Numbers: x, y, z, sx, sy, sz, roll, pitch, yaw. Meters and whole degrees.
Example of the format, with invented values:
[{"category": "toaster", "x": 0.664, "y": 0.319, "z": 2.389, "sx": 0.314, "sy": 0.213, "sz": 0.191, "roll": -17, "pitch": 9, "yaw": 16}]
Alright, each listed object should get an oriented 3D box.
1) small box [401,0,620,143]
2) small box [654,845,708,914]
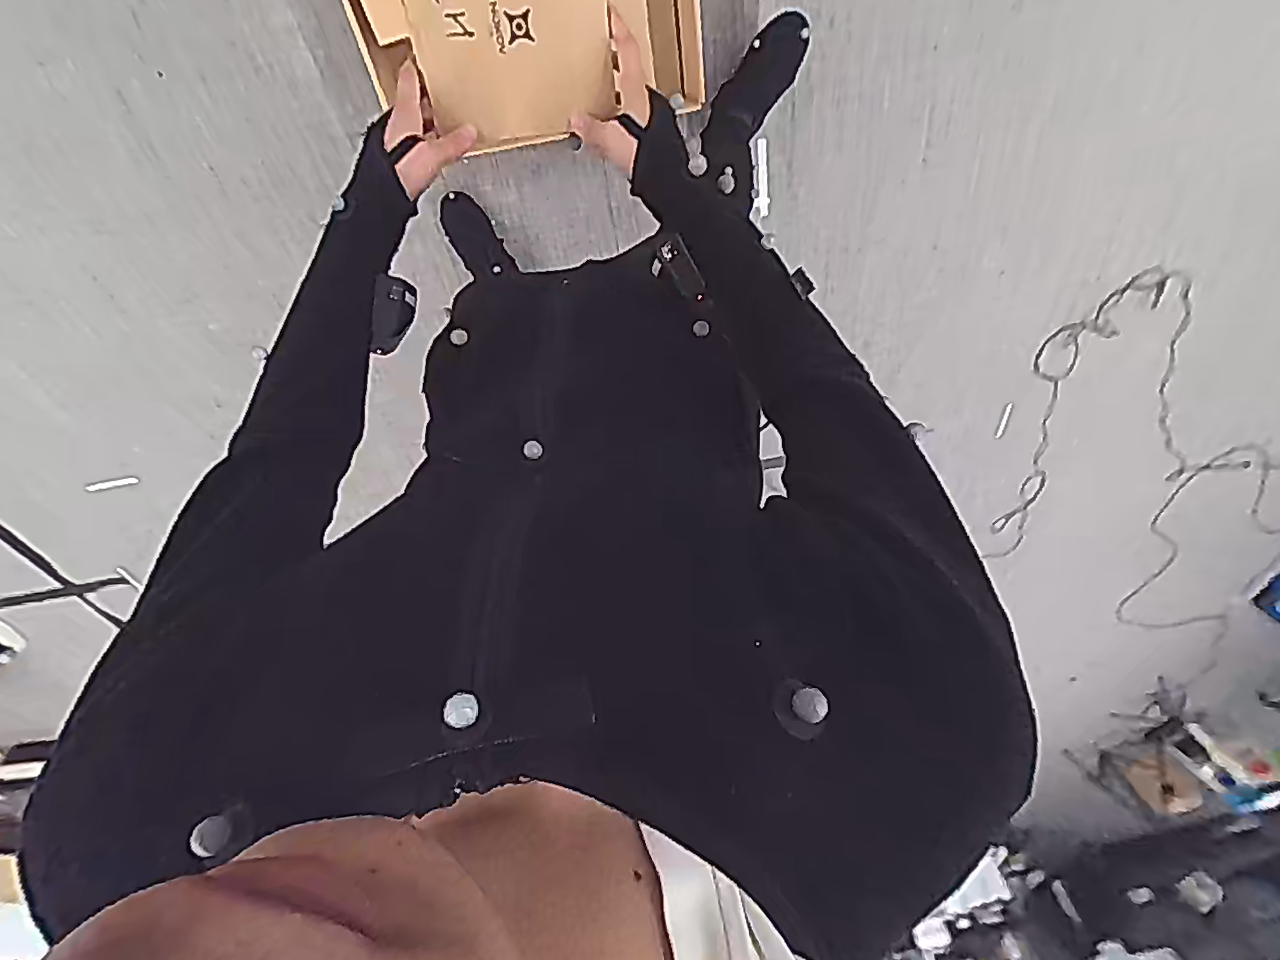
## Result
[{"category": "small box", "x": -0.120, "y": -0.442, "z": 0.530, "sx": 0.179, "sy": 0.176, "sz": 0.168, "roll": -8, "pitch": 126, "yaw": -1}, {"category": "small box", "x": 0.162, "y": 1.571, "z": 2.133, "sx": 0.179, "sy": 0.176, "sz": 0.168, "roll": -11, "pitch": 127, "yaw": -2}]
